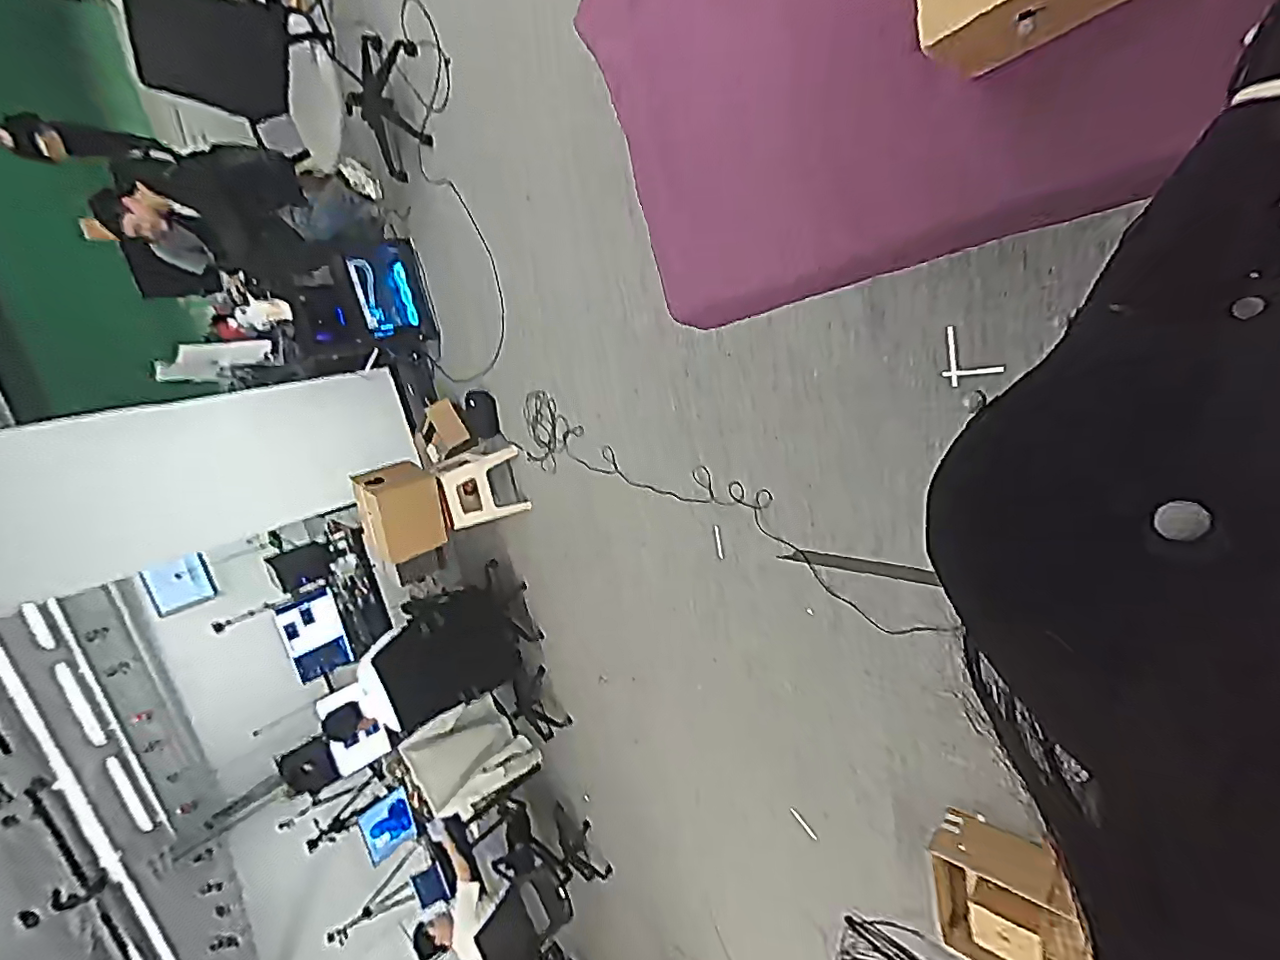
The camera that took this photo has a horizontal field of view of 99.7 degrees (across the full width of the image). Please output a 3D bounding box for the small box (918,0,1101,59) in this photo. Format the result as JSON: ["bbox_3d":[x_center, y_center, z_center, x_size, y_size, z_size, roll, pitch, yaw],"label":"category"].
[{"bbox_3d":[0.361,-0.520,0.480,0.179,0.176,0.168,-3,106,49],"label":"small box"}]

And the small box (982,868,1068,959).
[{"bbox_3d":[1.140,1.304,1.599,0.179,0.176,0.168,0,109,46],"label":"small box"}]
